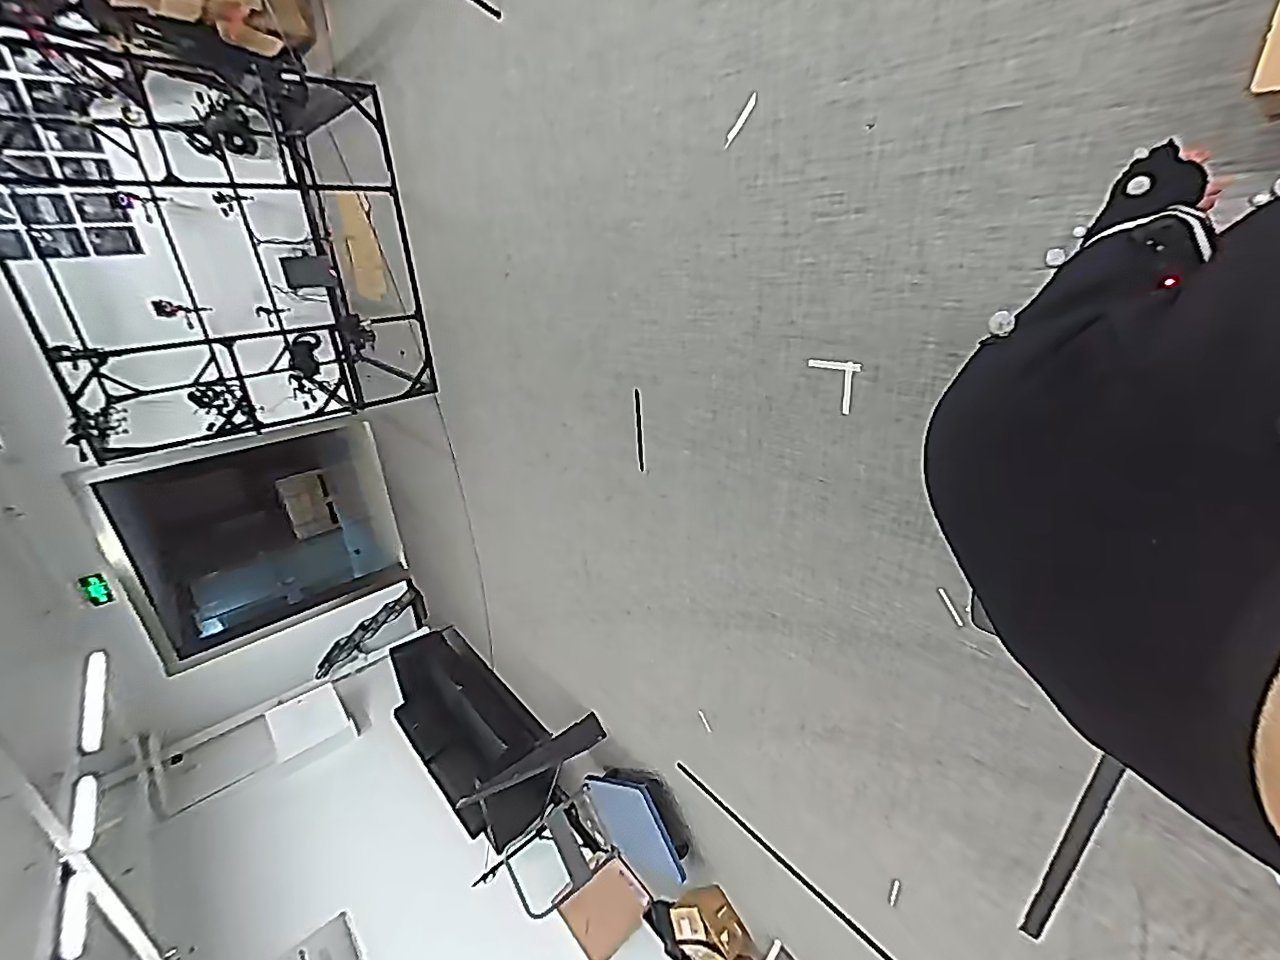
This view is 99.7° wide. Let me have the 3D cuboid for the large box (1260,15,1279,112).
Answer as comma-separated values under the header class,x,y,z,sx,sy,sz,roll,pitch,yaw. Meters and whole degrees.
class,x,y,z,sx,sy,sz,roll,pitch,yaw
large box,1.060,-0.660,0.619,0.408,0.320,0.320,21,124,44
